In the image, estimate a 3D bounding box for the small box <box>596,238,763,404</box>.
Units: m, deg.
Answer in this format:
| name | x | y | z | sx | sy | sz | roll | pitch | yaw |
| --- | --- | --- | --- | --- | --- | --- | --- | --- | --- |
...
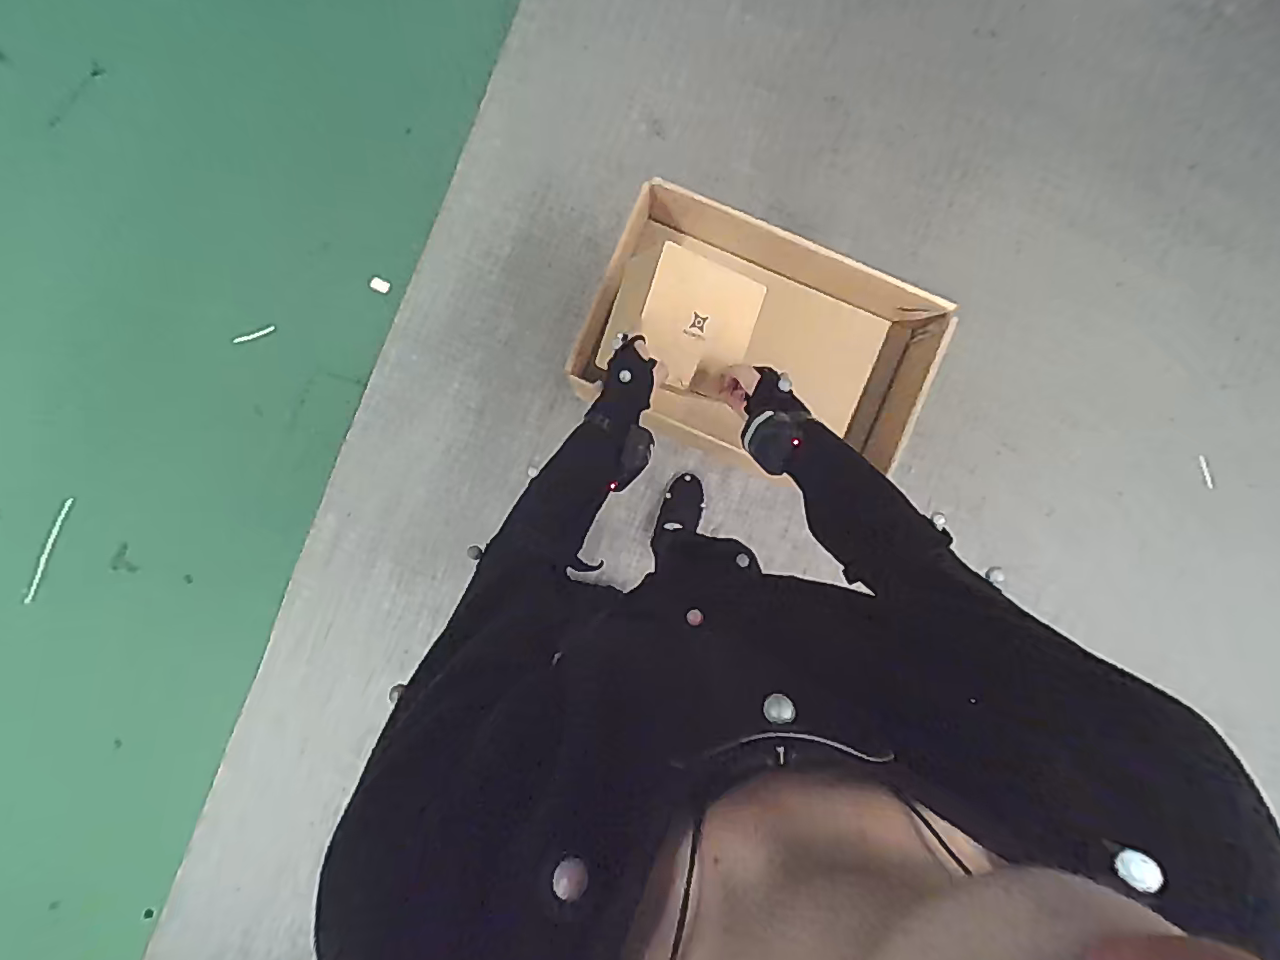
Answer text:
| name | x | y | z | sx | sy | sz | roll | pitch | yaw |
| --- | --- | --- | --- | --- | --- | --- | --- | --- | --- |
| small box | 0.047 | -0.228 | 0.802 | 0.168 | 0.176 | 0.179 | 16 | 99 | -22 |
